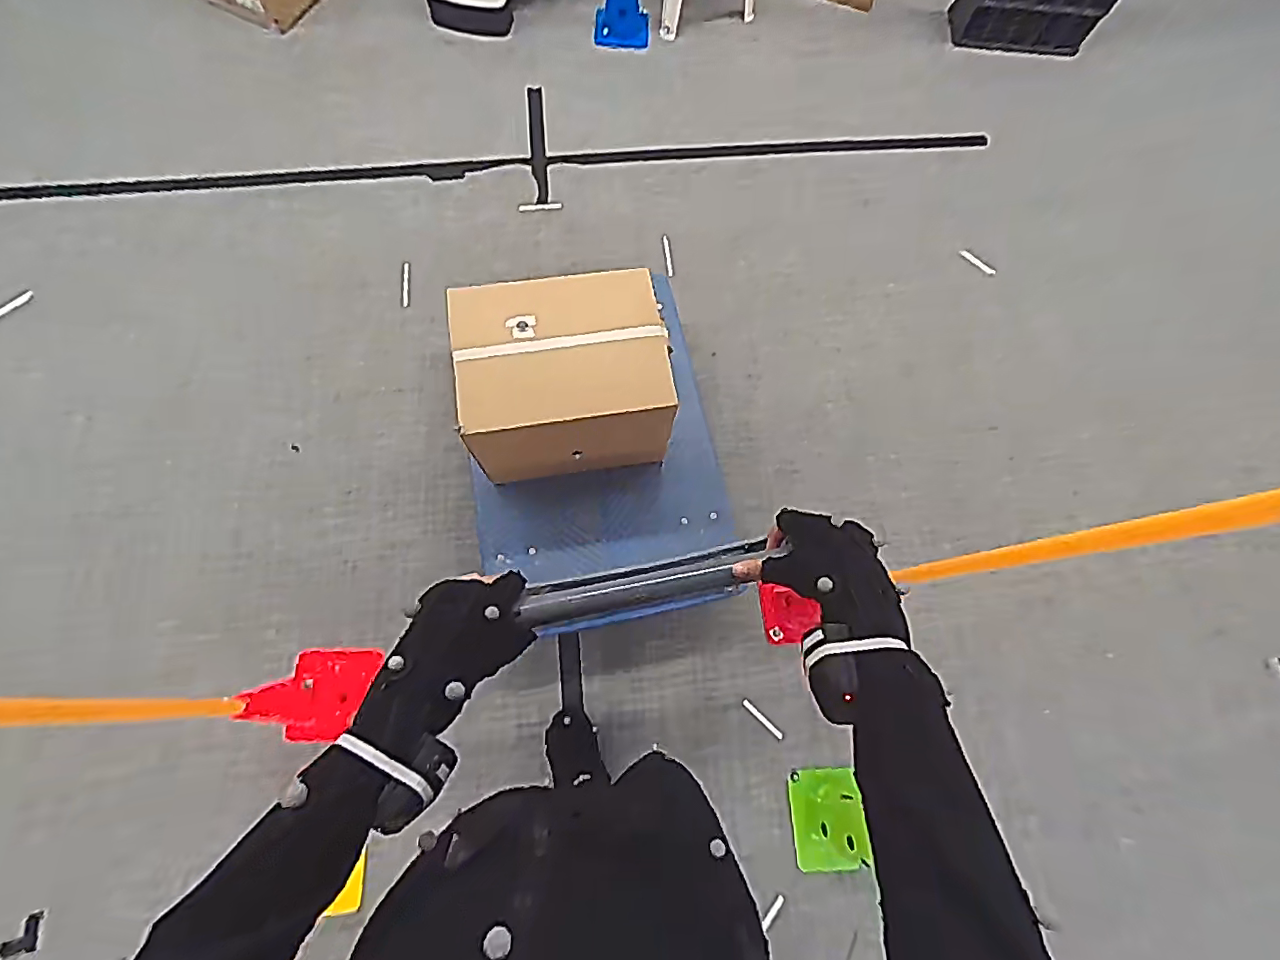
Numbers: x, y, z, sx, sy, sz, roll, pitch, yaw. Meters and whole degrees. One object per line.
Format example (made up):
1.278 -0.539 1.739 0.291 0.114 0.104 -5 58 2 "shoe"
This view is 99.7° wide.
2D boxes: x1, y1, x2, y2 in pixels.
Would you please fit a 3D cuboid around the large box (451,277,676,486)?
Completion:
-0.157 -0.197 1.186 0.408 0.320 0.320 -9 73 -5 "large box"

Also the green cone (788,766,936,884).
0.455 0.710 1.063 0.202 0.368 0.200 -1 71 -5 "green cone"

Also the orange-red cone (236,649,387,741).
-0.692 0.438 1.096 0.198 0.360 0.199 2 70 -3 "orange-red cone"

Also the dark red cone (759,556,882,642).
0.421 0.245 1.200 0.201 0.394 0.202 -5 72 -7 "dark red cone"
